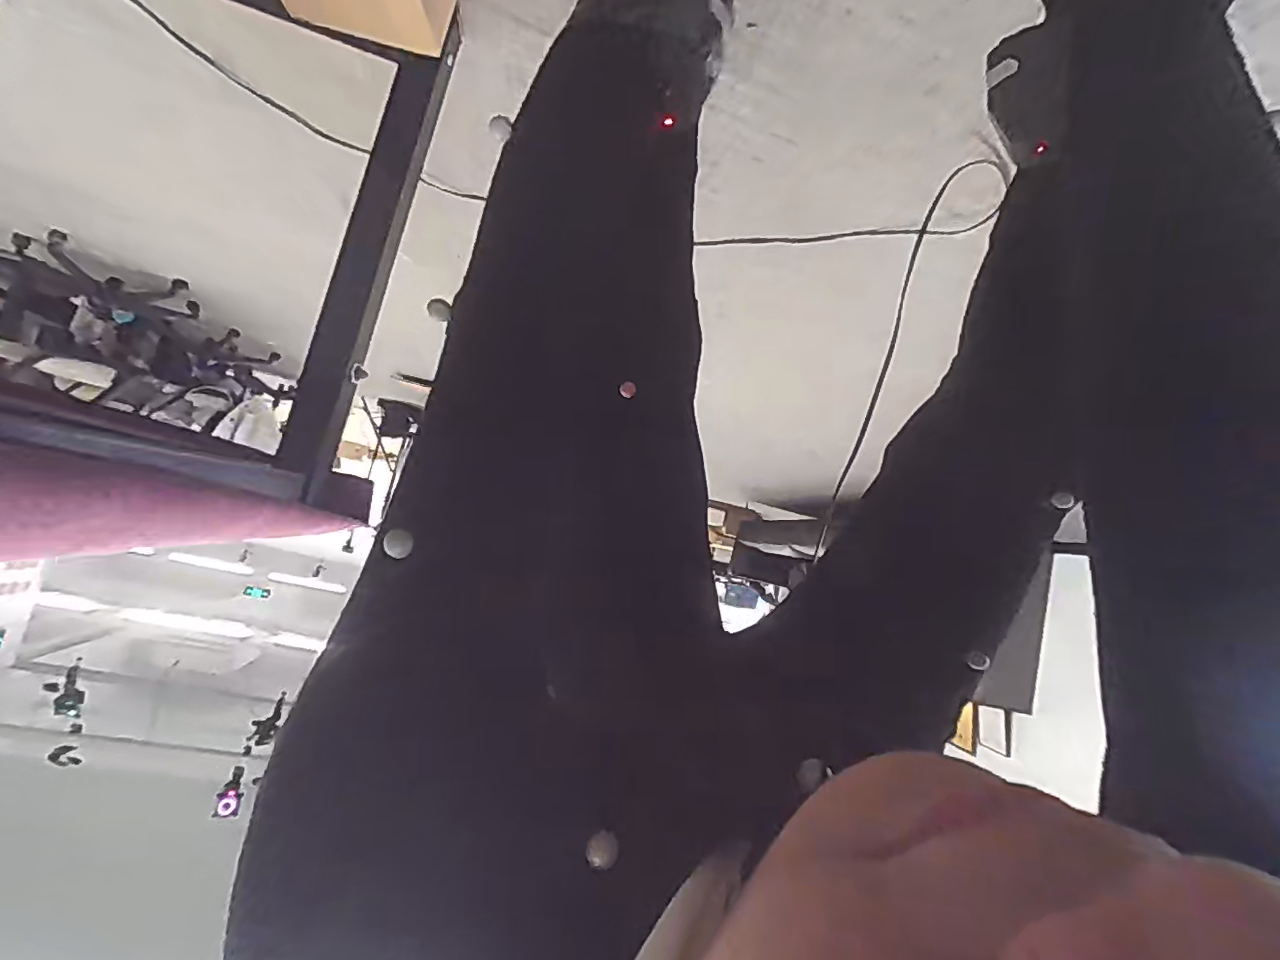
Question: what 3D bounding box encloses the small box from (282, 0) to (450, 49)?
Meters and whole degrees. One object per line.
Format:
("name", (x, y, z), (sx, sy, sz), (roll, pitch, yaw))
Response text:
("small box", (-0.283, -0.590, 0.532), (0.179, 0.176, 0.168), (14, 173, -4))
